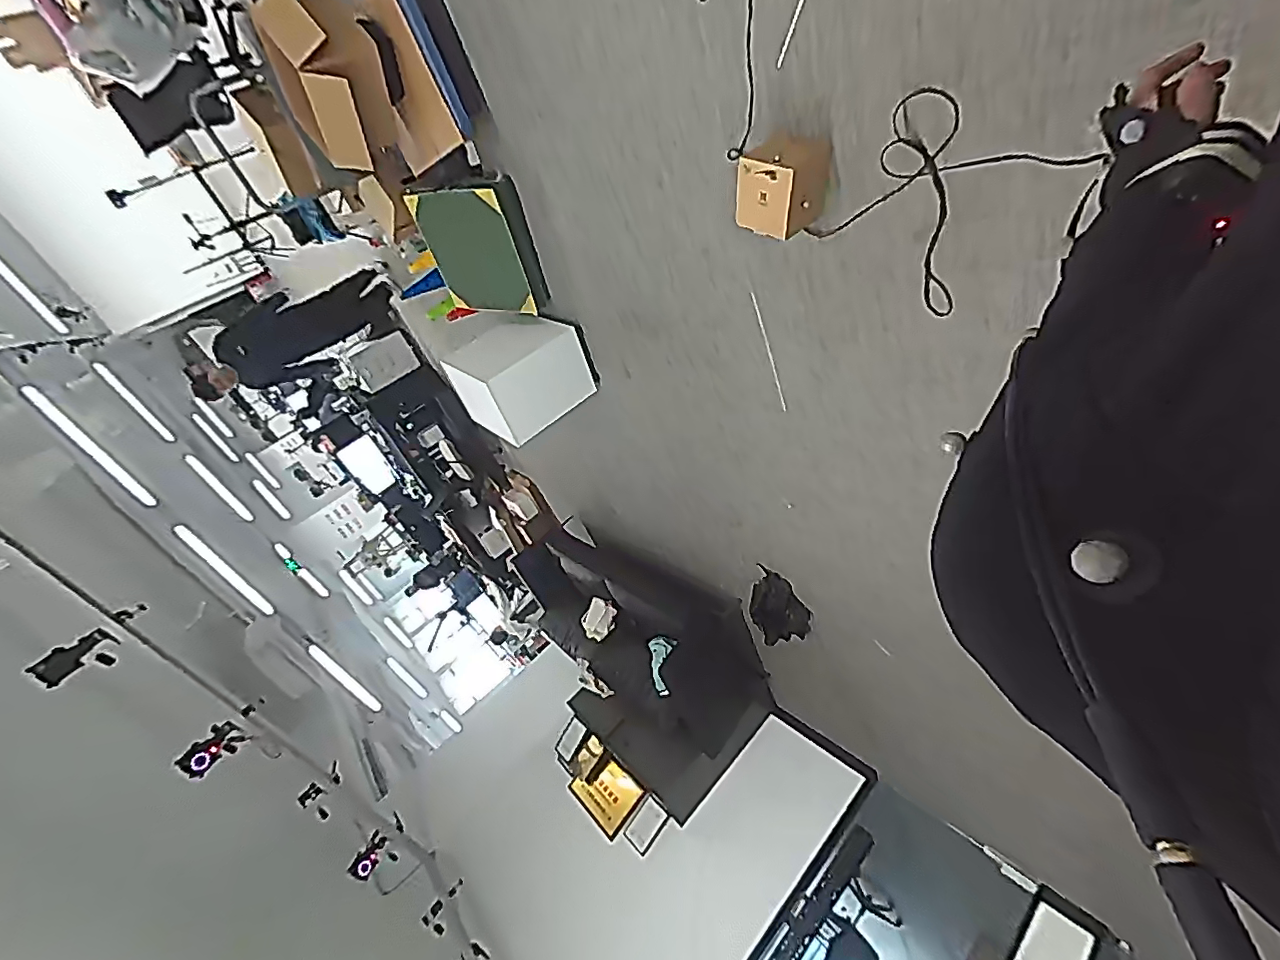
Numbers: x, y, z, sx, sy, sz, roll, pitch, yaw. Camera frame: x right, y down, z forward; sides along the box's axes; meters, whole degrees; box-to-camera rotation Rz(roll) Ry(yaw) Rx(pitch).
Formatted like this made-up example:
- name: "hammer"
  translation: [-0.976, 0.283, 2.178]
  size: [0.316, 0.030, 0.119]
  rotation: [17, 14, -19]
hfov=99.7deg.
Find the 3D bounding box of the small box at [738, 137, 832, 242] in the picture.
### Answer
- name: "small box"
  translation: [0.377, -0.761, 1.413]
  size: [0.168, 0.176, 0.179]
  rotation: [36, 152, 31]
